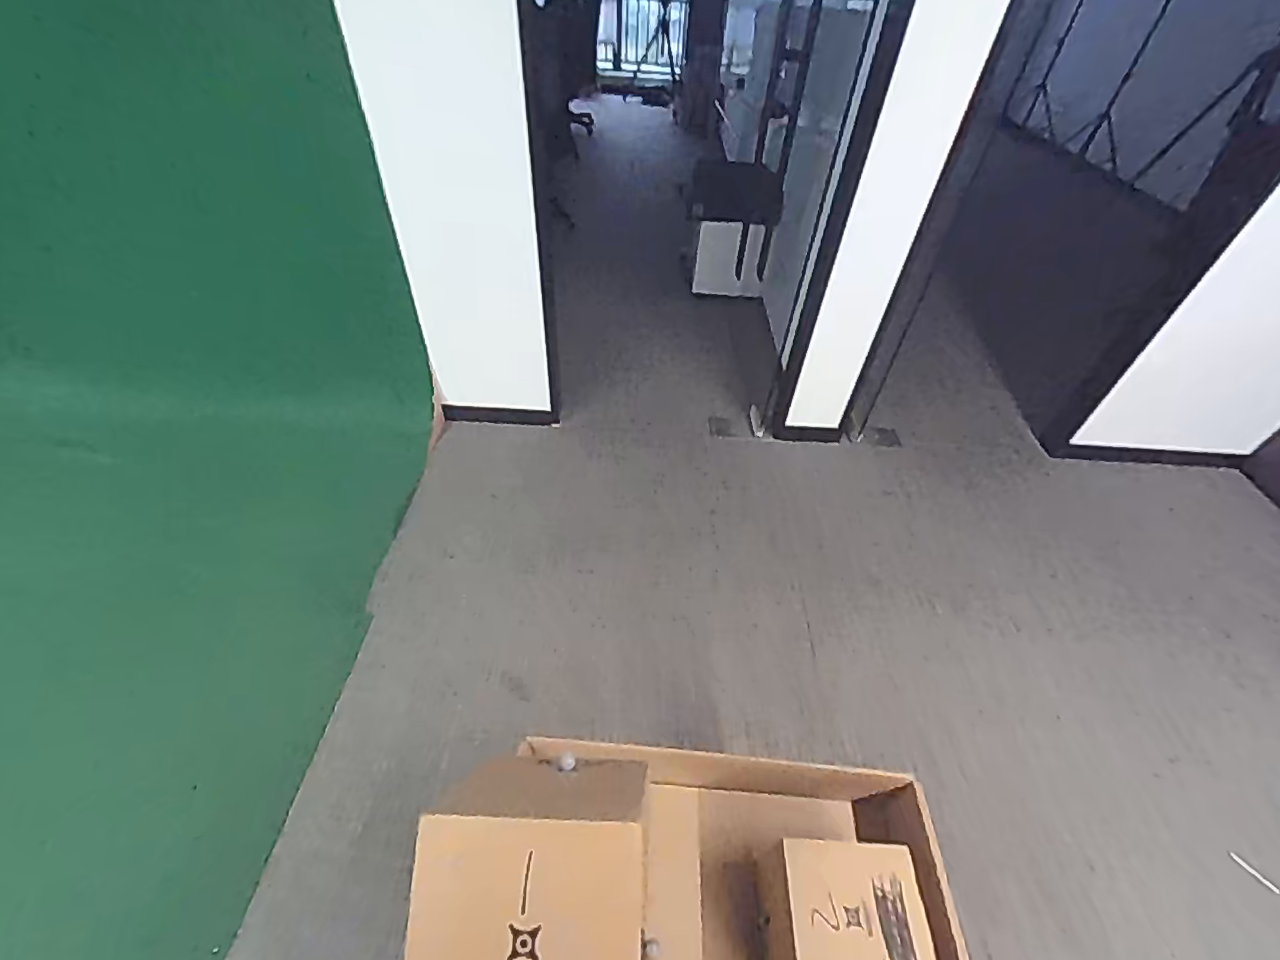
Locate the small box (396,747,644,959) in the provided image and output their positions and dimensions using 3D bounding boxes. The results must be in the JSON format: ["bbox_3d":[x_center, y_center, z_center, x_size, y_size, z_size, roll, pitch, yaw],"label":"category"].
[{"bbox_3d":[-0.083,0.341,0.450,0.168,0.176,0.179,0,76,3],"label":"small box"}]
